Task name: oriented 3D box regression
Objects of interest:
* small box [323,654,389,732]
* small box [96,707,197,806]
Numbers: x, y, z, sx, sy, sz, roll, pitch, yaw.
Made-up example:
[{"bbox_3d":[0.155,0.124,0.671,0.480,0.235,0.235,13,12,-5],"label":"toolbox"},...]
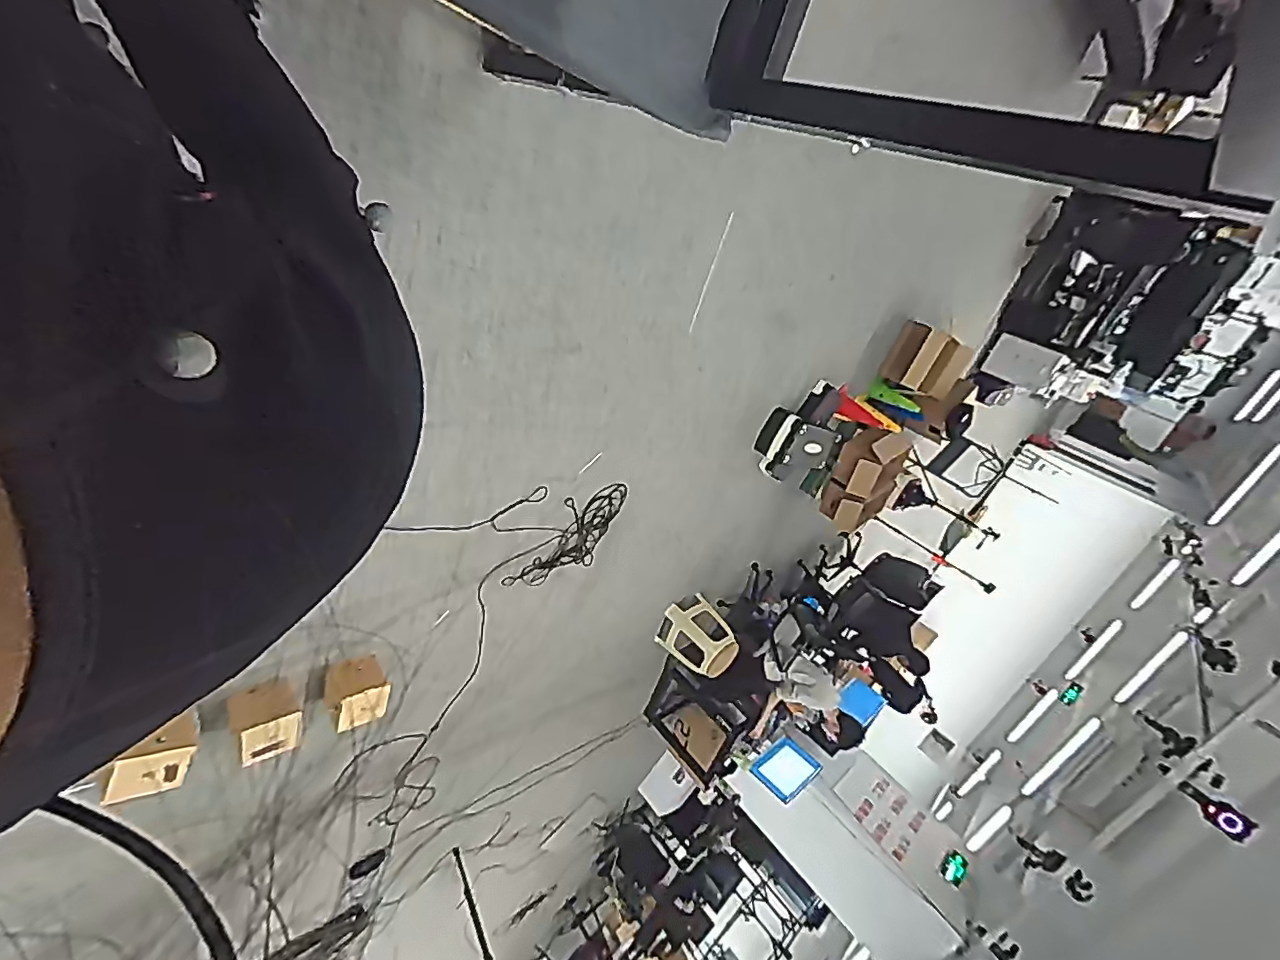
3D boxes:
[{"bbox_3d":[-1.048,0.778,1.986,0.168,0.176,0.179,-7,125,-47],"label":"small box"},{"bbox_3d":[-1.419,0.782,1.552,0.179,0.176,0.168,13,110,-52],"label":"small box"}]
